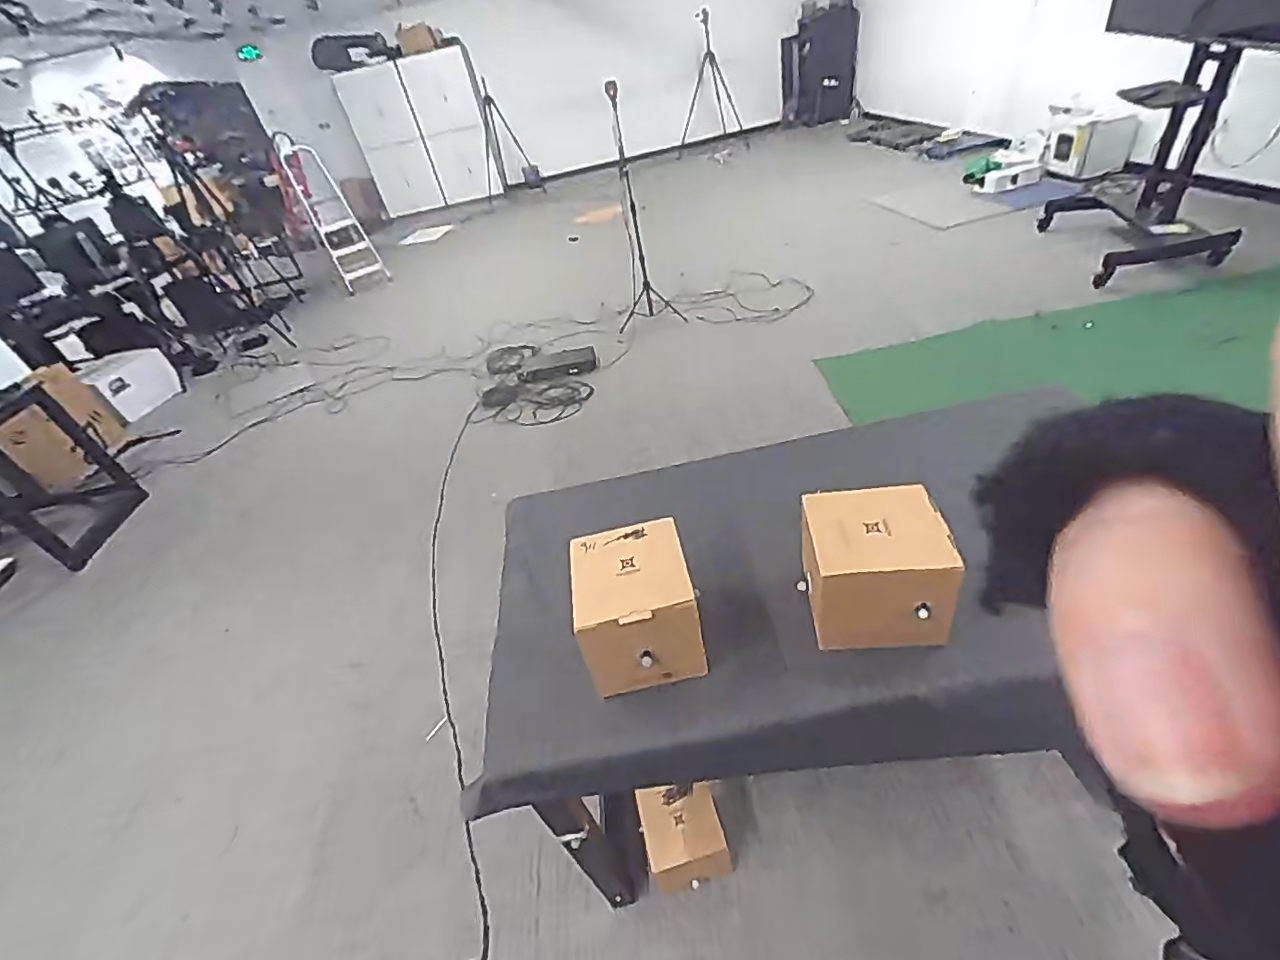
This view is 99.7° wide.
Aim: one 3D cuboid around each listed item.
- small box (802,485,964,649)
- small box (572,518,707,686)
[{"bbox_3d":[0.341,0.130,0.799,0.179,0.176,0.168,-7,37,10],"label":"small box"},{"bbox_3d":[-0.001,0.189,0.819,0.168,0.176,0.179,-13,37,0],"label":"small box"}]
